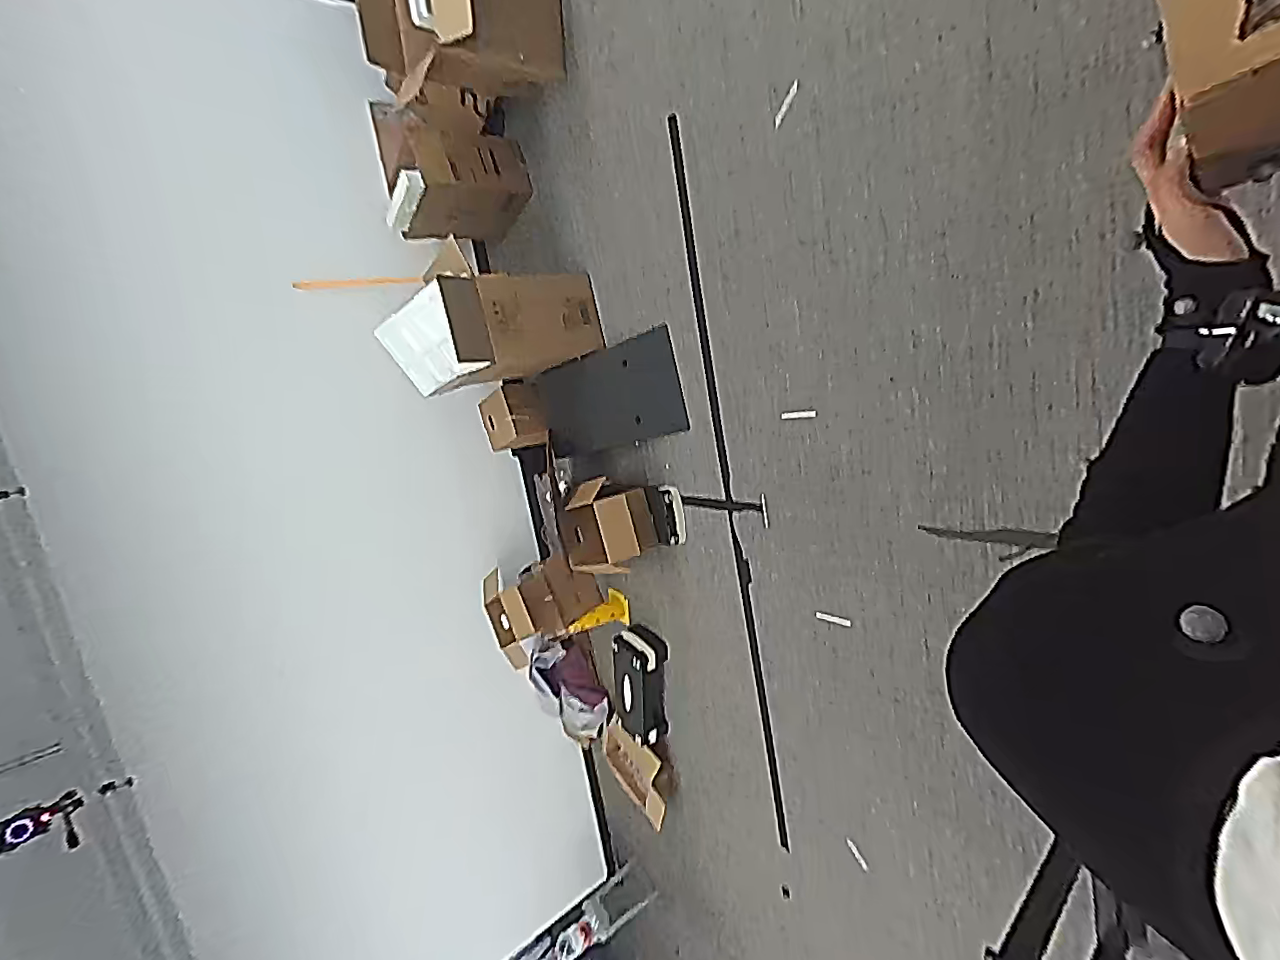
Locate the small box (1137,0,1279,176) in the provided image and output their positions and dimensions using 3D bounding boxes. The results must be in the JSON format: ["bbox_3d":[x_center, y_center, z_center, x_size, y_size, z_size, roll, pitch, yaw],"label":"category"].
[{"bbox_3d":[0.433,-0.324,0.337,0.168,0.176,0.179,-12,80,49],"label":"small box"}]
